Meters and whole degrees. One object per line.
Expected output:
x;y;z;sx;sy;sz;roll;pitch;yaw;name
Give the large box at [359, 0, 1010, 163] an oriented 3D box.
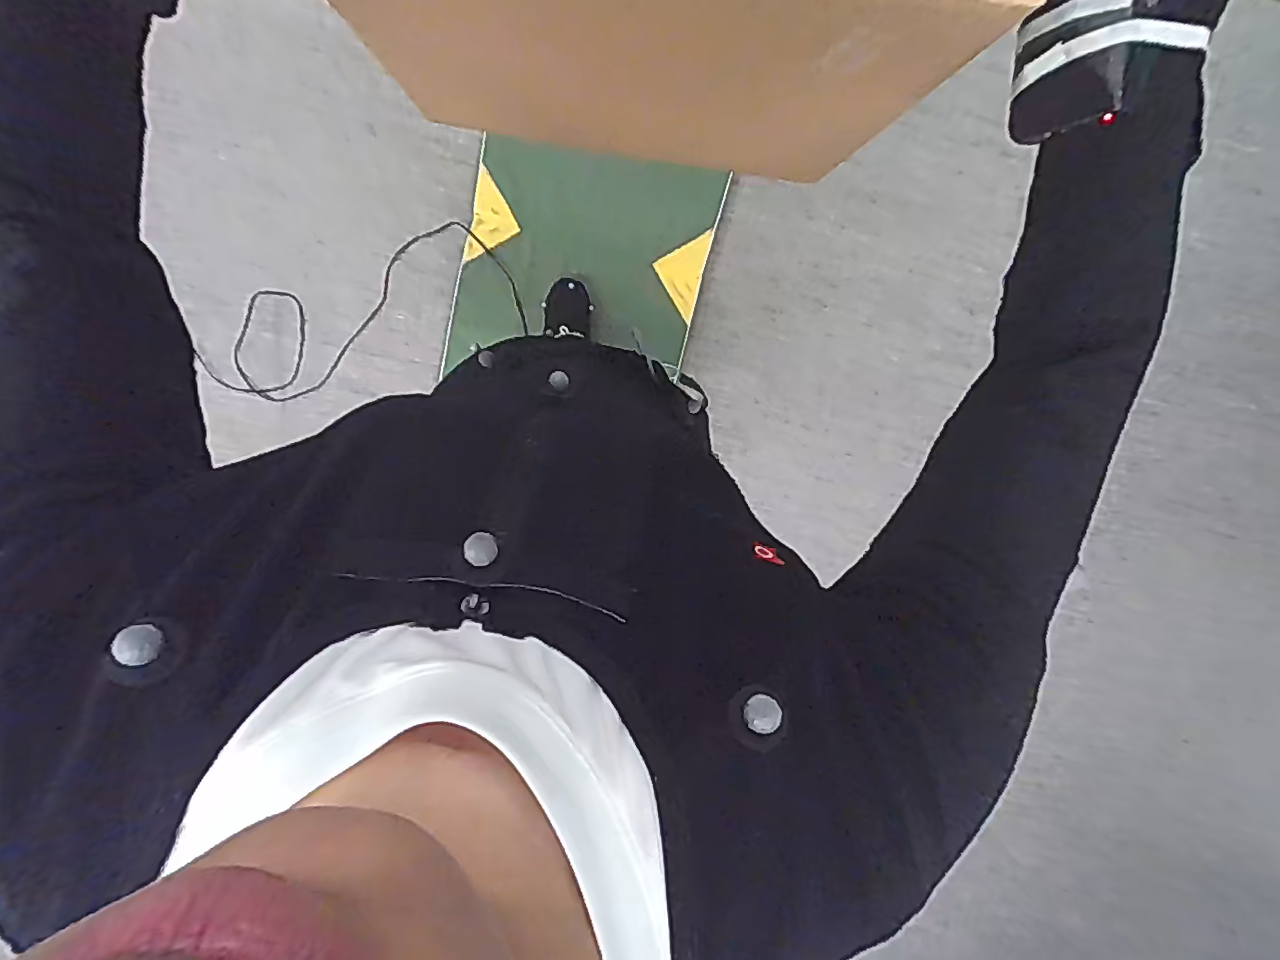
0.017;-0.456;0.371;0.408;0.320;0.320;5;105;-6;large box
